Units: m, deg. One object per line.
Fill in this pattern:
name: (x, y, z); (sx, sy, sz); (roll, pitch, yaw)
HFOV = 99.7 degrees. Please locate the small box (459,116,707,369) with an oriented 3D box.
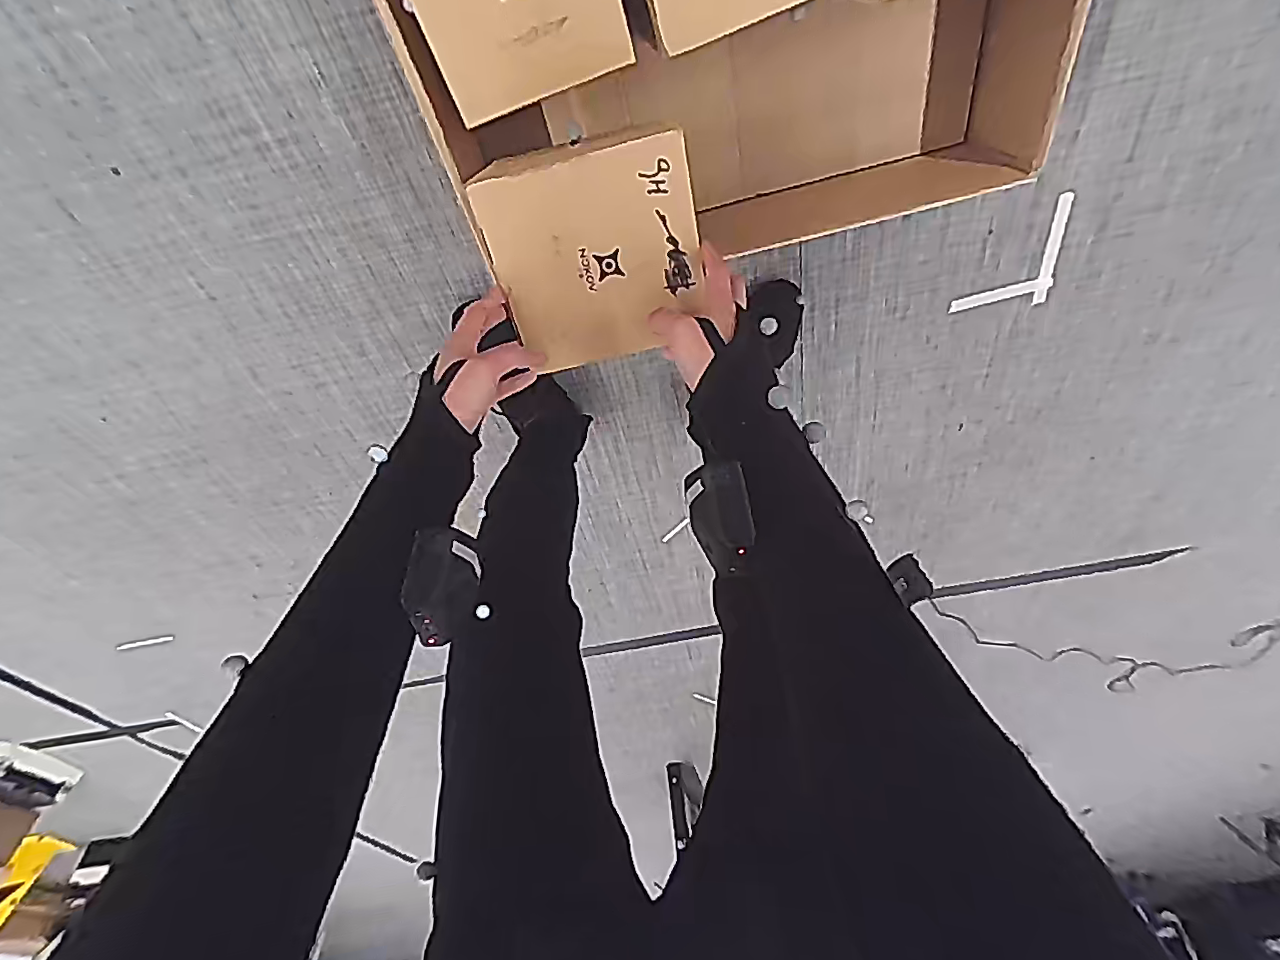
small box: (-0.042, -0.229, 0.514); (0.179, 0.176, 0.168); (-12, 126, 5)
